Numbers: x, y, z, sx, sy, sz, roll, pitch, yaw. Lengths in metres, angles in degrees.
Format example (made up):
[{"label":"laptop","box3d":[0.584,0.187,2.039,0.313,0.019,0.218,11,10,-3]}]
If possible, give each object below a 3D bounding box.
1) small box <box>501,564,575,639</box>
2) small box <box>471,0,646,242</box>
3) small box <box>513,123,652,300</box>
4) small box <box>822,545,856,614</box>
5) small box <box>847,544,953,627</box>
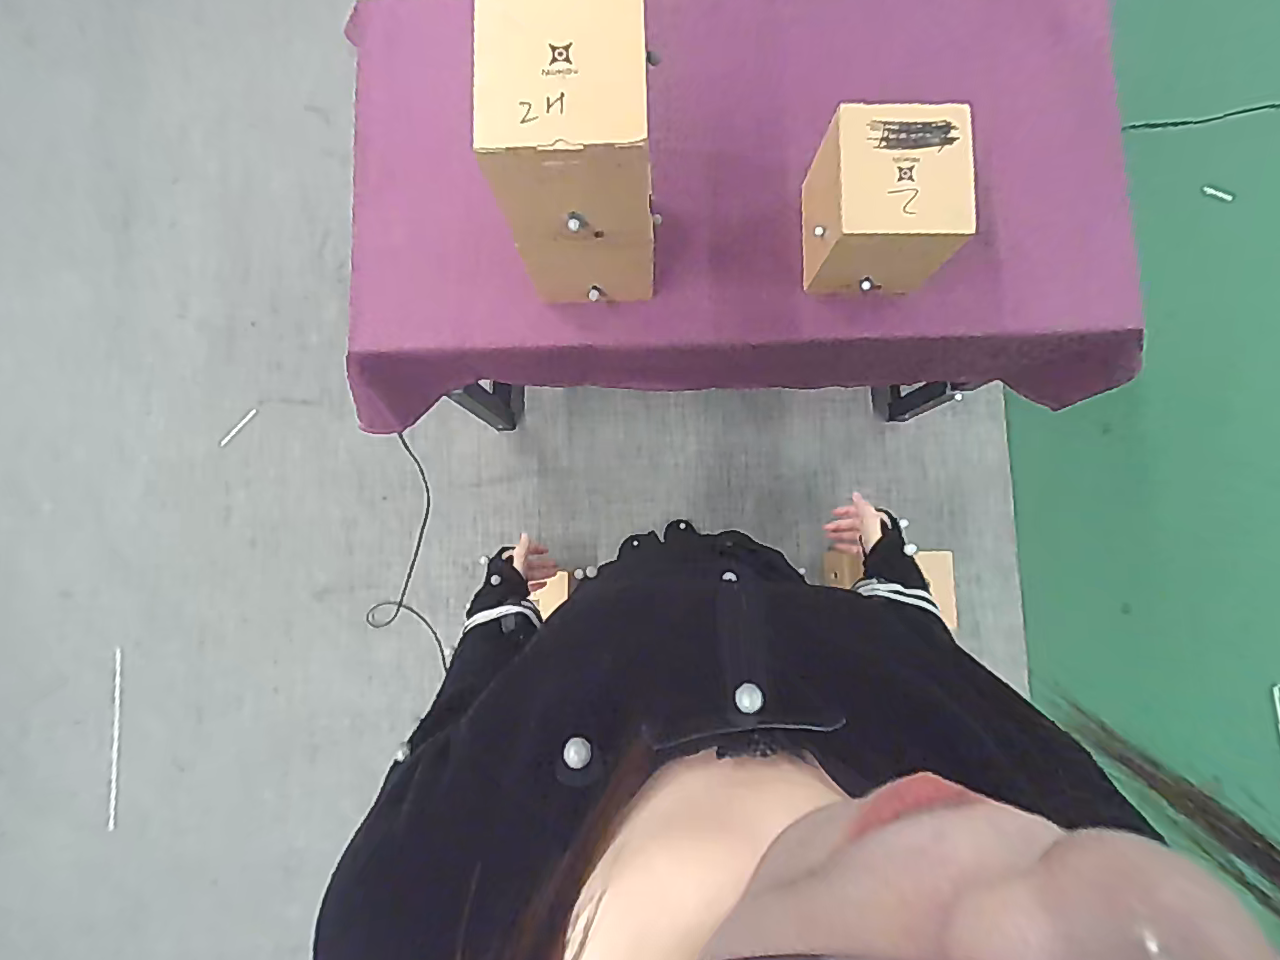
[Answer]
[{"label":"small box","box3d":[-0.264,0.317,1.430,0.168,0.176,0.179,0,83,1]},{"label":"small box","box3d":[-0.078,-0.389,0.597,0.168,0.176,0.179,-1,85,1]},{"label":"small box","box3d":[-0.076,-0.368,0.761,0.179,0.176,0.168,-3,84,0]},{"label":"small box","box3d":[0.592,0.257,1.426,0.179,0.176,0.168,-3,85,0]},{"label":"small box","box3d":[0.600,0.240,1.264,0.168,0.176,0.179,-1,84,-1]}]
